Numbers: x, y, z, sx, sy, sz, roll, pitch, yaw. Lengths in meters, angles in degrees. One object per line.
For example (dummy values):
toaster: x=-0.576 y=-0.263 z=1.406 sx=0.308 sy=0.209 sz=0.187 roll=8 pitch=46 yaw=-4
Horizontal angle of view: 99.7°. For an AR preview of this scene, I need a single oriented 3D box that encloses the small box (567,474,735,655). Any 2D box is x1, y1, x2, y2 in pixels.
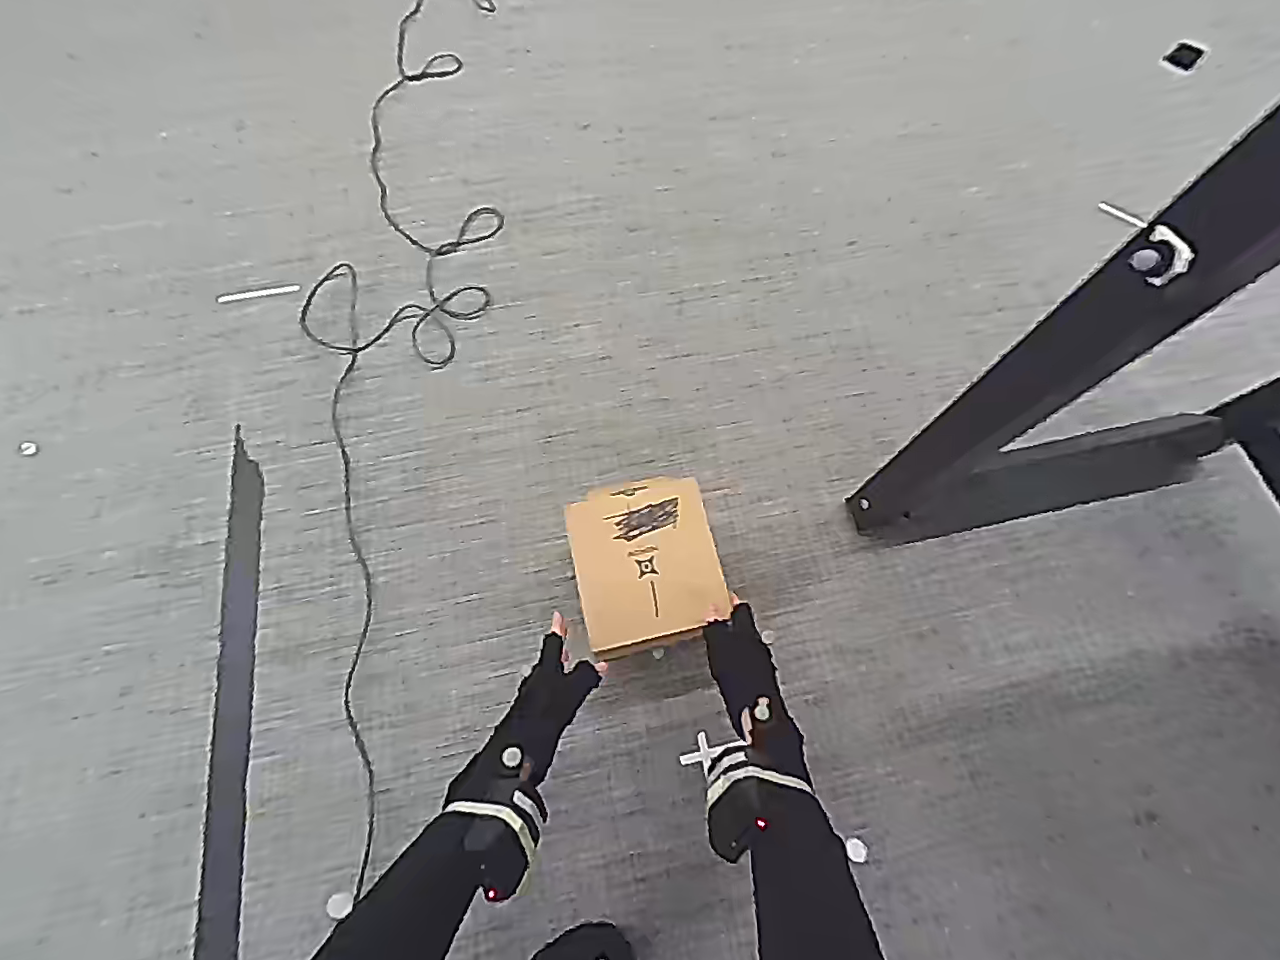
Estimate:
small box: x=0.008 y=0.115 z=0.692 sx=0.168 sy=0.176 sz=0.179 roll=-12 pitch=70 yaw=-5
